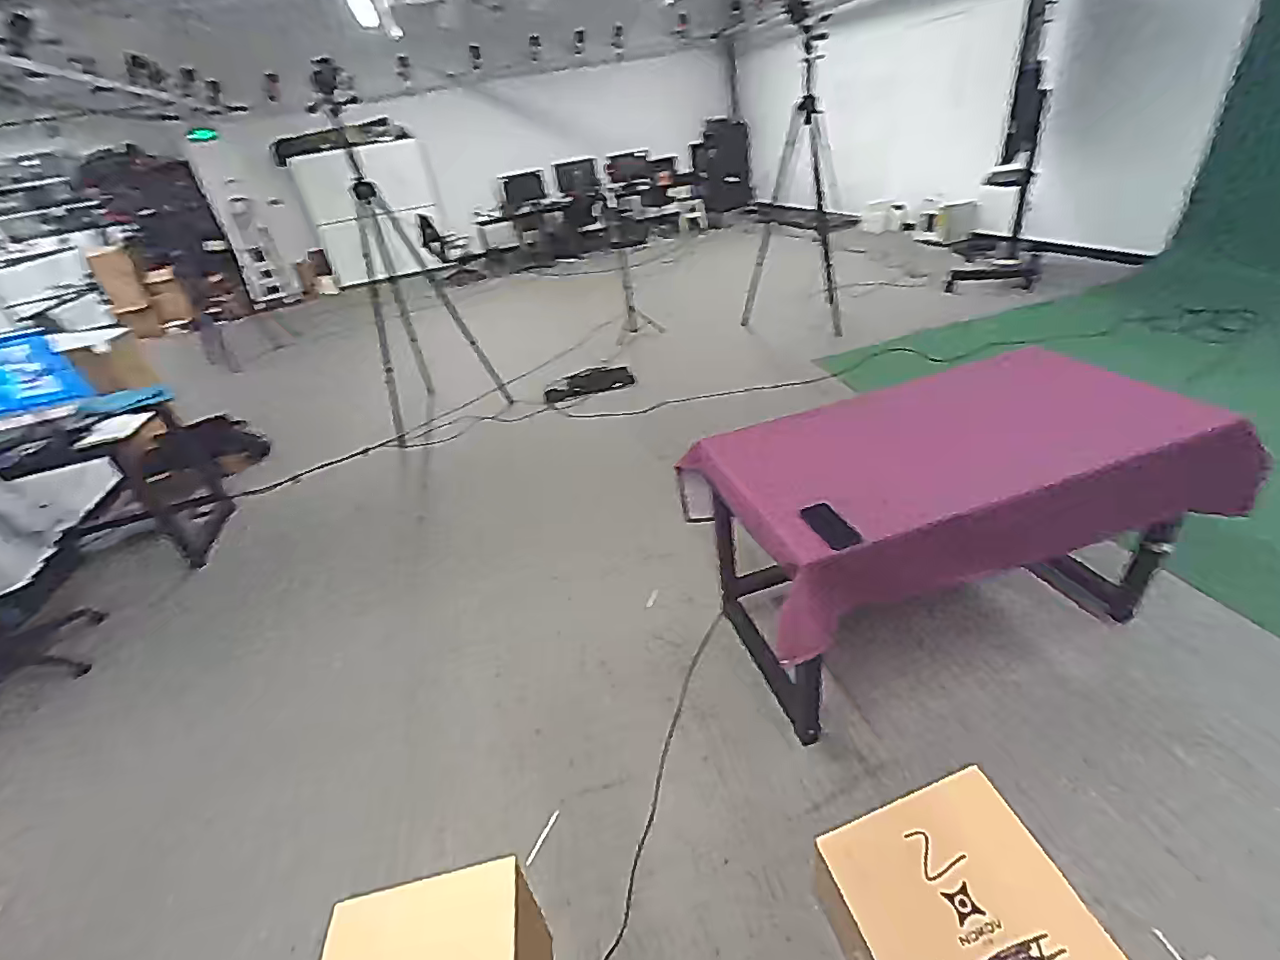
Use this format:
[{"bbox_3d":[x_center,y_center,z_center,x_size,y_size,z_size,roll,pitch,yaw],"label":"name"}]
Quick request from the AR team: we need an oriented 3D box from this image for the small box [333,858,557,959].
[{"bbox_3d":[-0.163,0.477,0.466,0.168,0.176,0.179,-10,31,-5],"label":"small box"}]
